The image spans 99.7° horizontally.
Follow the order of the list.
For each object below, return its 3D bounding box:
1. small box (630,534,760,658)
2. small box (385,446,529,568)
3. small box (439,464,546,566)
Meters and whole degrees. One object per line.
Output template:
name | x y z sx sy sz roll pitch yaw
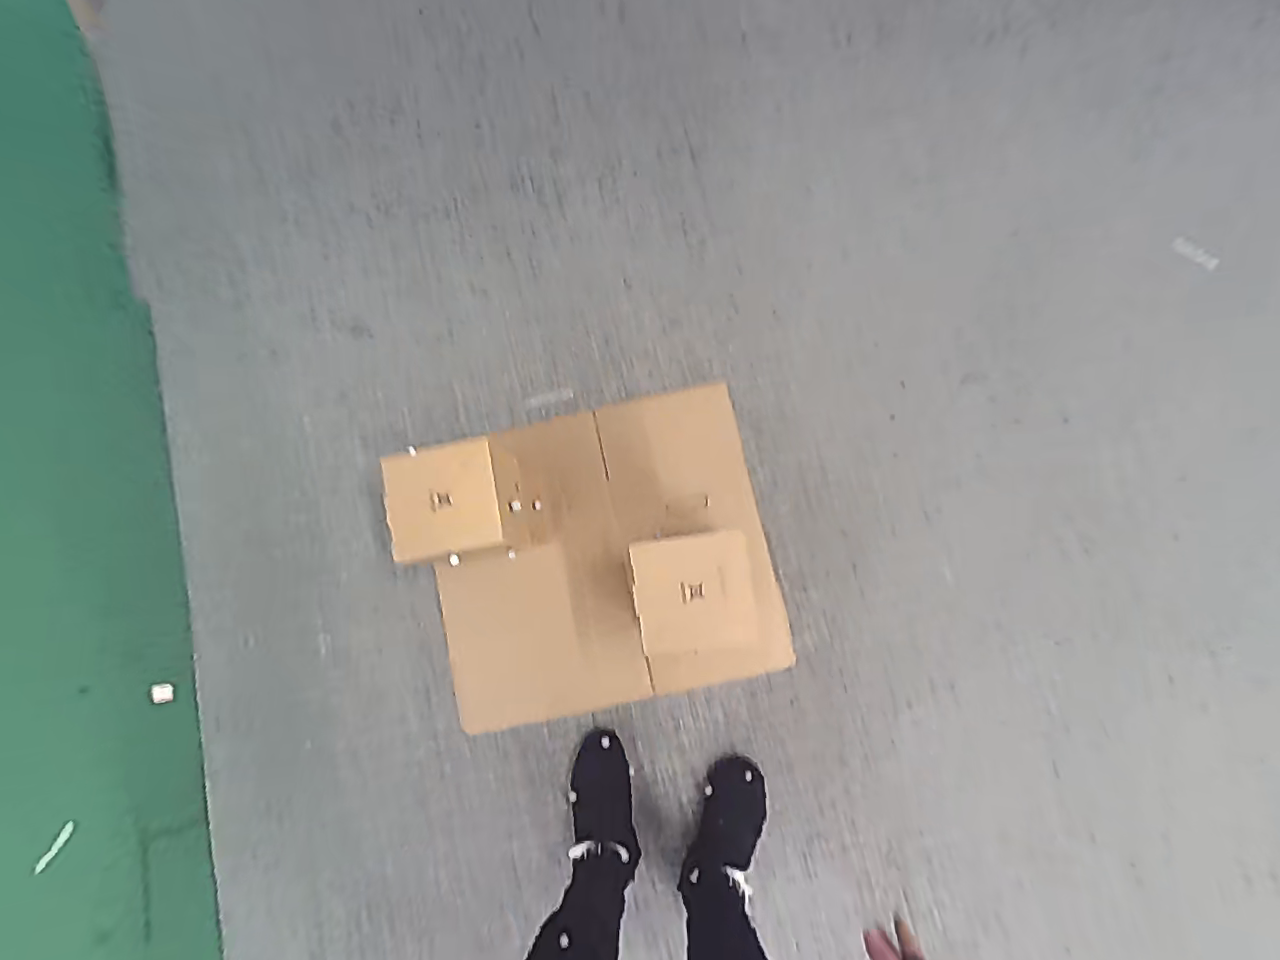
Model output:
small box | 0.085 0.182 0.870 0.179 0.176 0.168 -8 82 3
small box | -0.296 0.049 0.911 0.179 0.176 0.168 -12 82 2
small box | -0.291 0.072 1.071 0.179 0.176 0.168 -12 81 2
